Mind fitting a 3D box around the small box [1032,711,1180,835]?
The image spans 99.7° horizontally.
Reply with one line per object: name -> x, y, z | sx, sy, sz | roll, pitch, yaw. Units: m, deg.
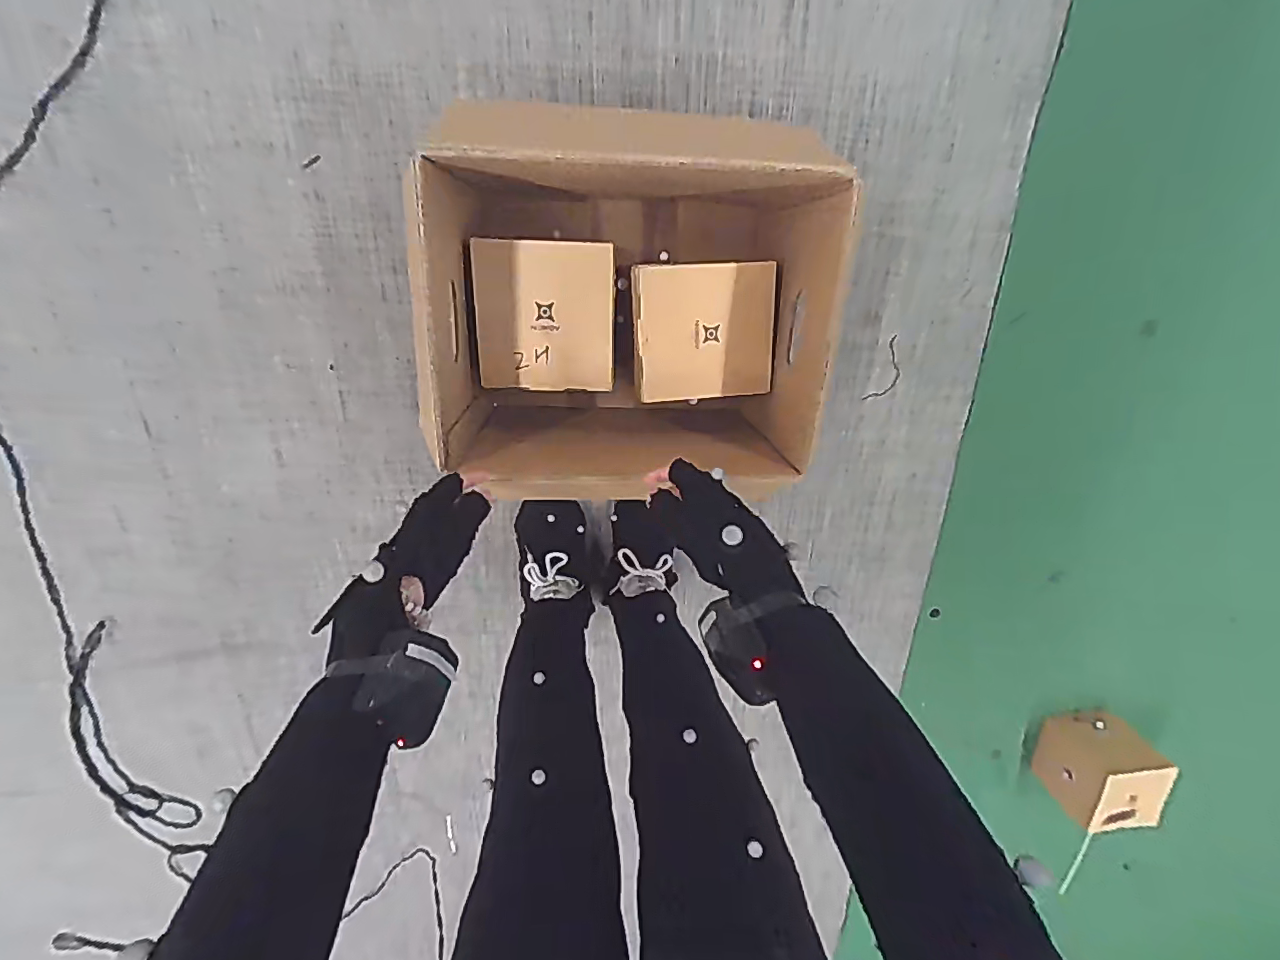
small box -> 1.032, 0.654, 1.217 | 0.168, 0.176, 0.179 | -4, 111, -5
